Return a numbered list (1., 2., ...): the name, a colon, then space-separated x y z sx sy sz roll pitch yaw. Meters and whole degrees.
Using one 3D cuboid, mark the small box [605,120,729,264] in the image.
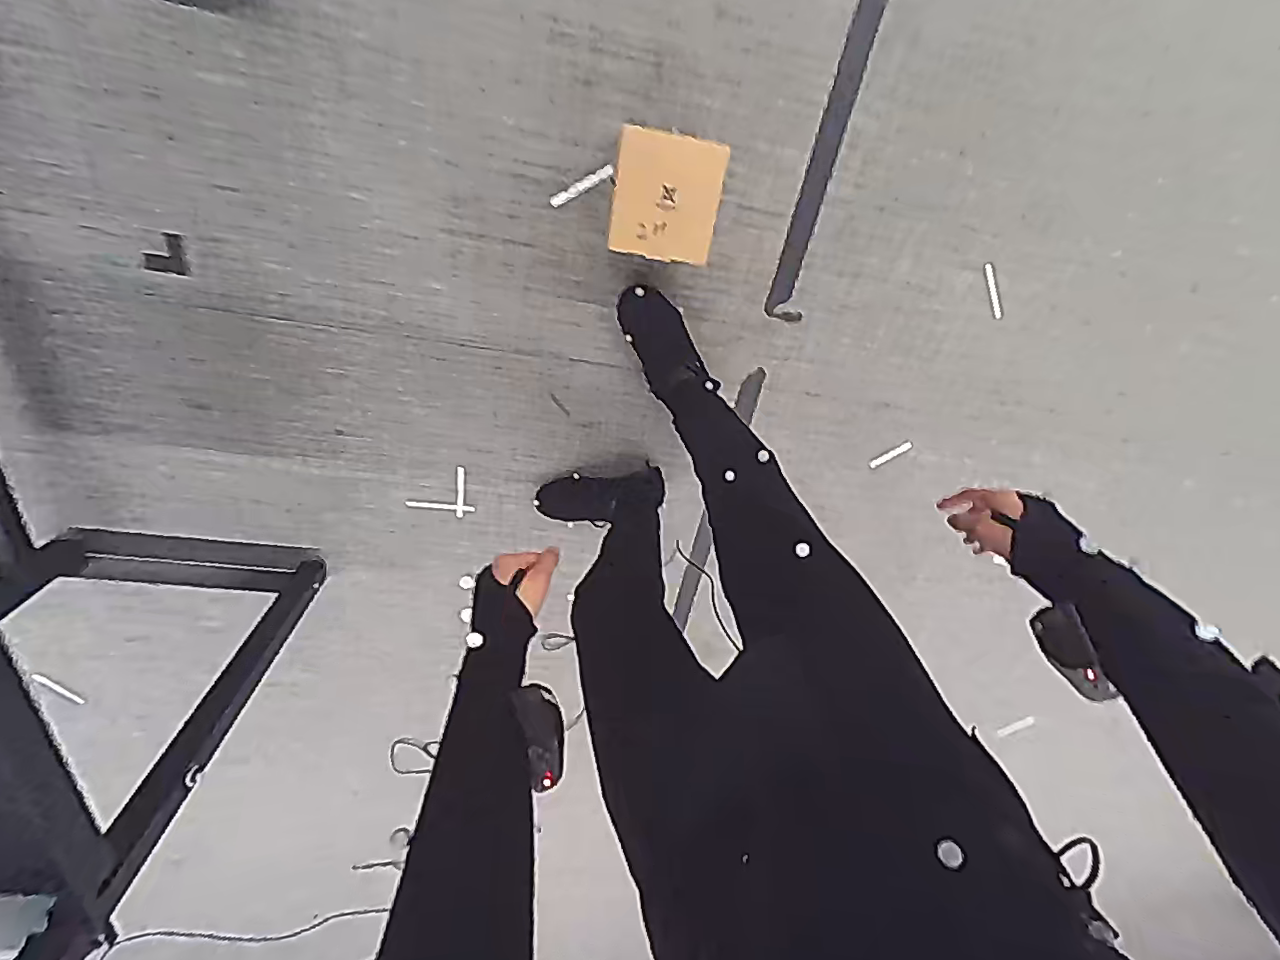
1. small box: 0.033 -0.477 0.904 0.168 0.176 0.179 6 120 -9
